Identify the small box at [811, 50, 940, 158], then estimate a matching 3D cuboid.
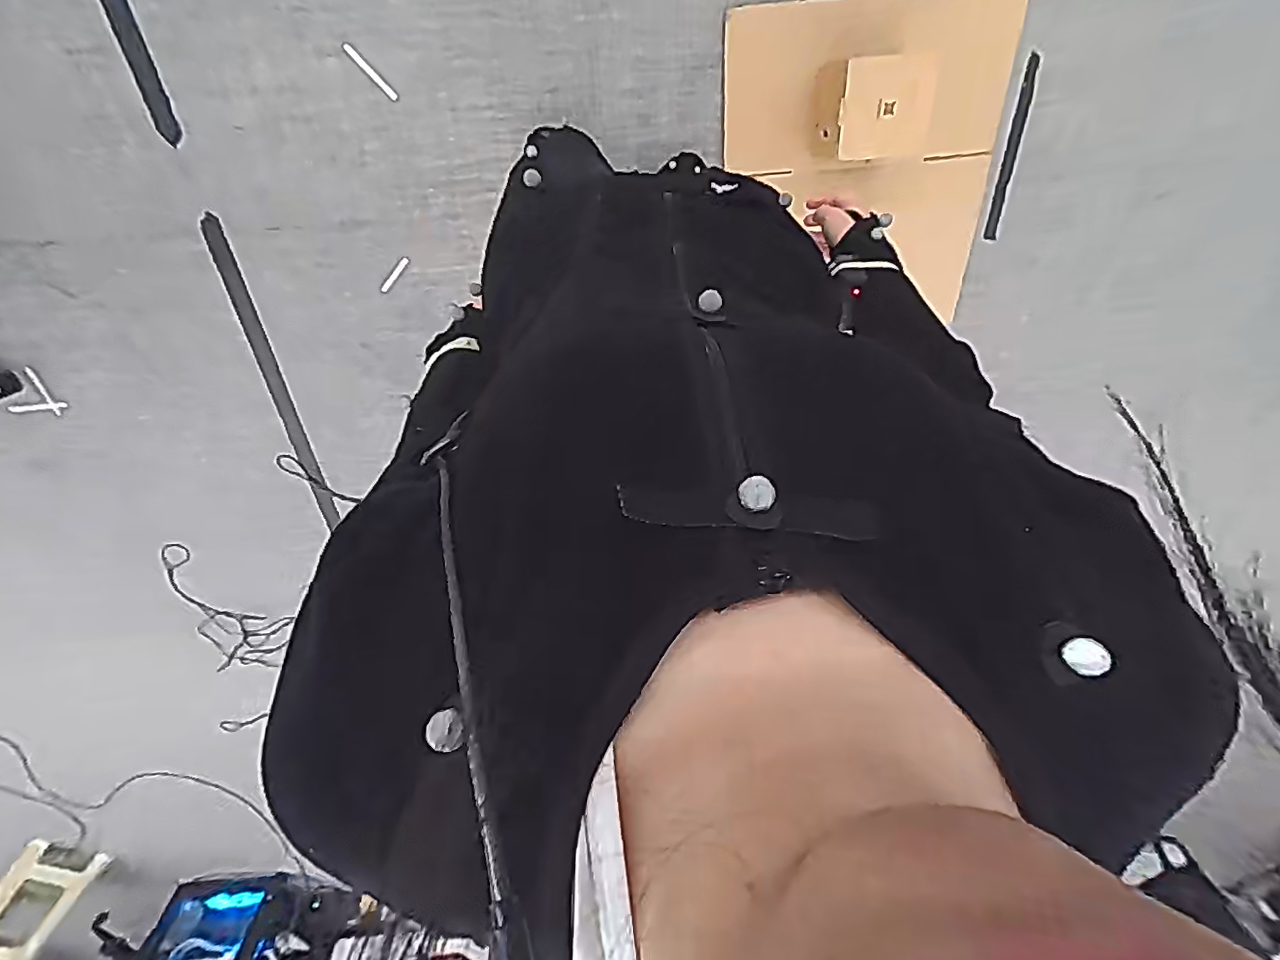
[{"bbox_3d":[0.462,-0.755,1.095,0.179,0.176,0.168,-5,125,-1],"label":"small box"}]
